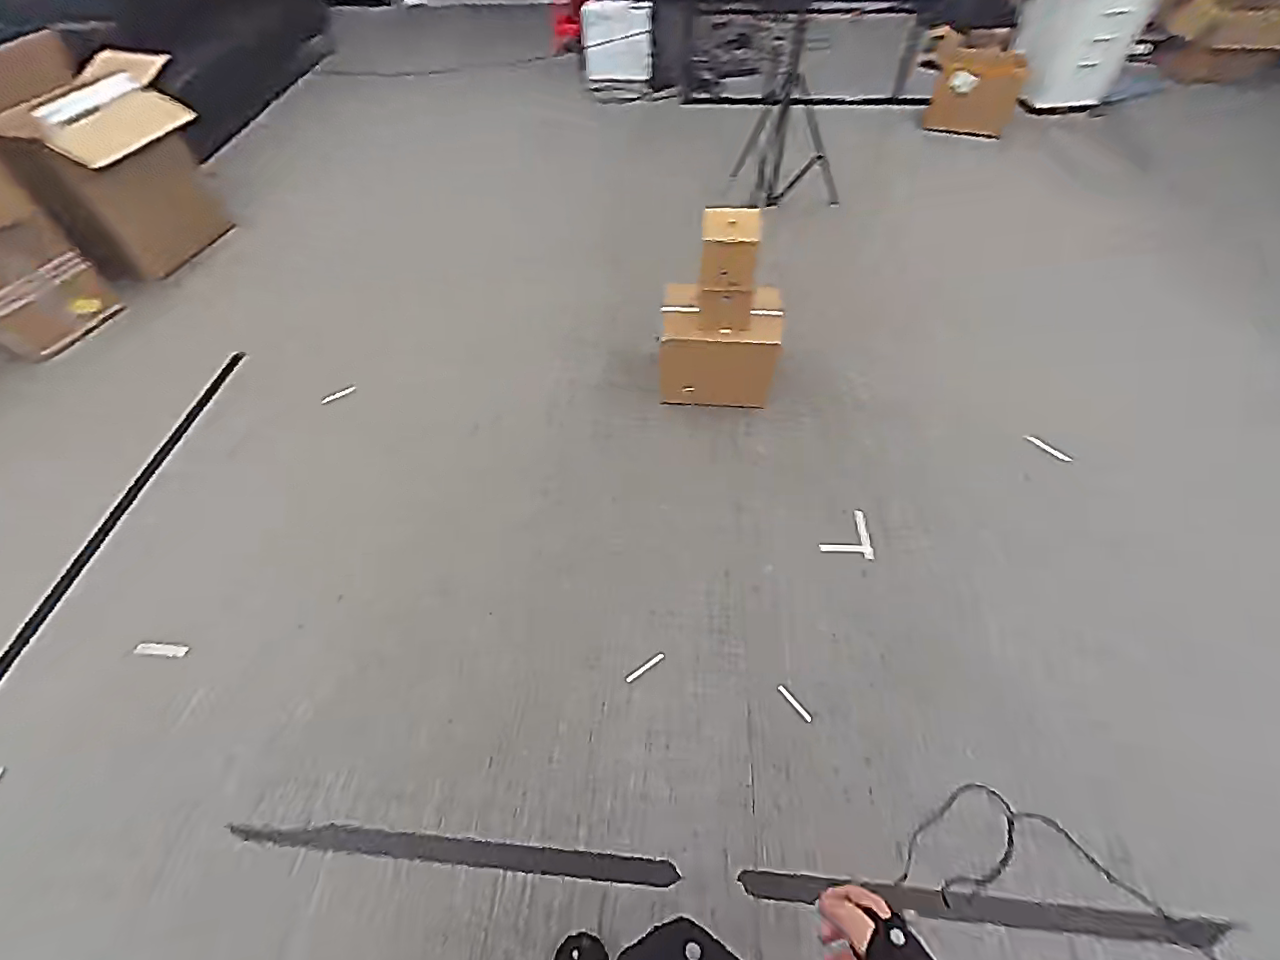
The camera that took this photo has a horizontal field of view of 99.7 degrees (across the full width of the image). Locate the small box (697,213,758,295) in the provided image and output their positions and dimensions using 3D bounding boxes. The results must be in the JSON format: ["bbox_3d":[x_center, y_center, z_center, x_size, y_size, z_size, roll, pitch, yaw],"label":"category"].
[{"bbox_3d":[0.263,-0.695,1.661,0.168,0.176,0.179,2,56,3],"label":"small box"}]

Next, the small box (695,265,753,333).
[{"bbox_3d":[0.272,-0.607,1.798,0.179,0.176,0.168,2,55,2],"label":"small box"}]
